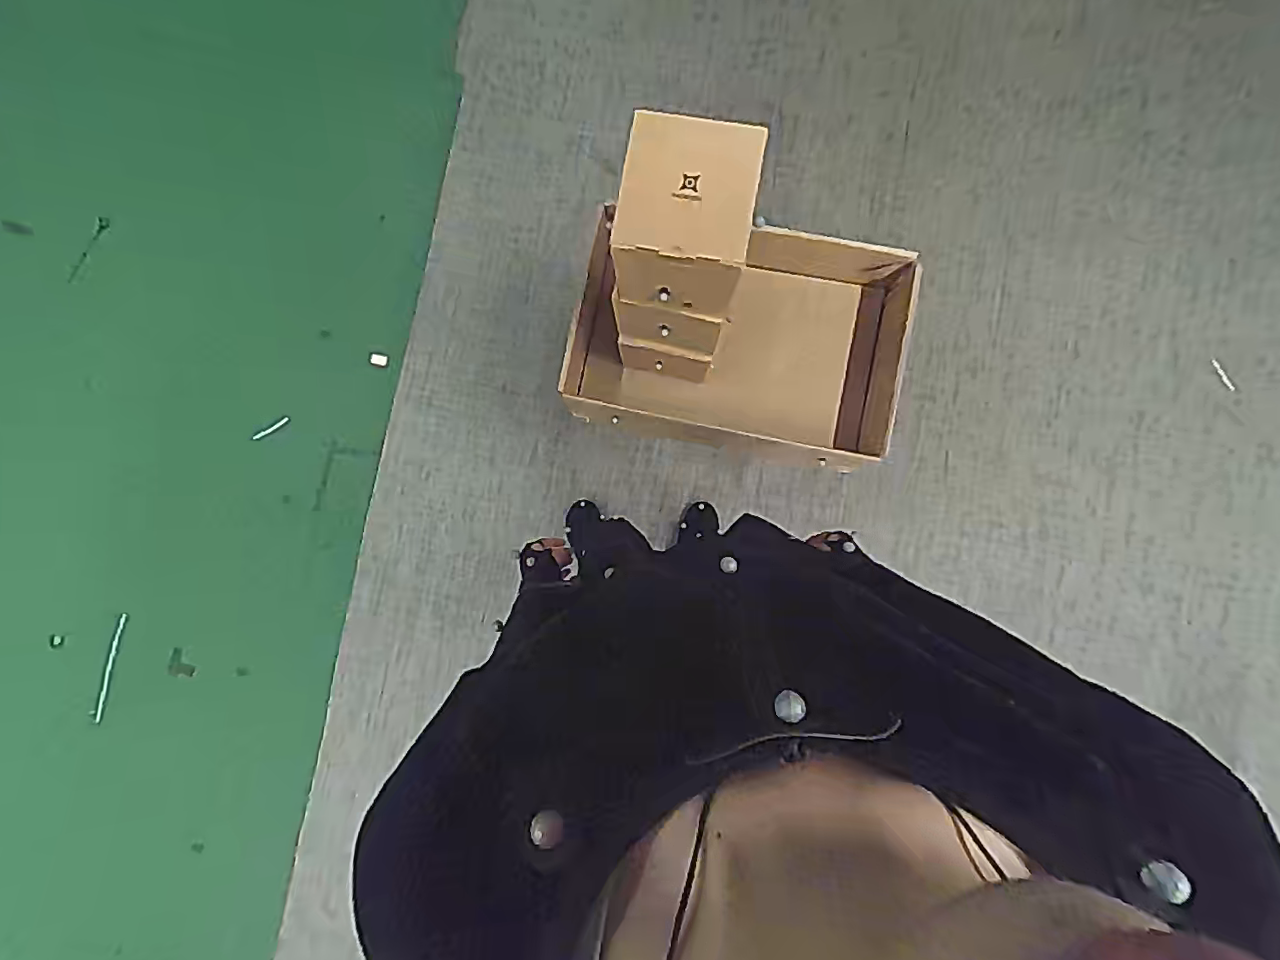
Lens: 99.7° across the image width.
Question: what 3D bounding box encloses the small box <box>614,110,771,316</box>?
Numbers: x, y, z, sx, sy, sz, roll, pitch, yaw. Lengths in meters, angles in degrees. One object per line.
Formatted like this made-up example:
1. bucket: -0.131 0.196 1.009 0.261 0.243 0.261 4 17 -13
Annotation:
1. small box: 0.065 -0.345 0.727 0.168 0.176 0.179 10 86 3

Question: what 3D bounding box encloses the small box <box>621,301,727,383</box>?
1. small box: 0.070 -0.298 1.050 0.179 0.176 0.168 13 86 3
